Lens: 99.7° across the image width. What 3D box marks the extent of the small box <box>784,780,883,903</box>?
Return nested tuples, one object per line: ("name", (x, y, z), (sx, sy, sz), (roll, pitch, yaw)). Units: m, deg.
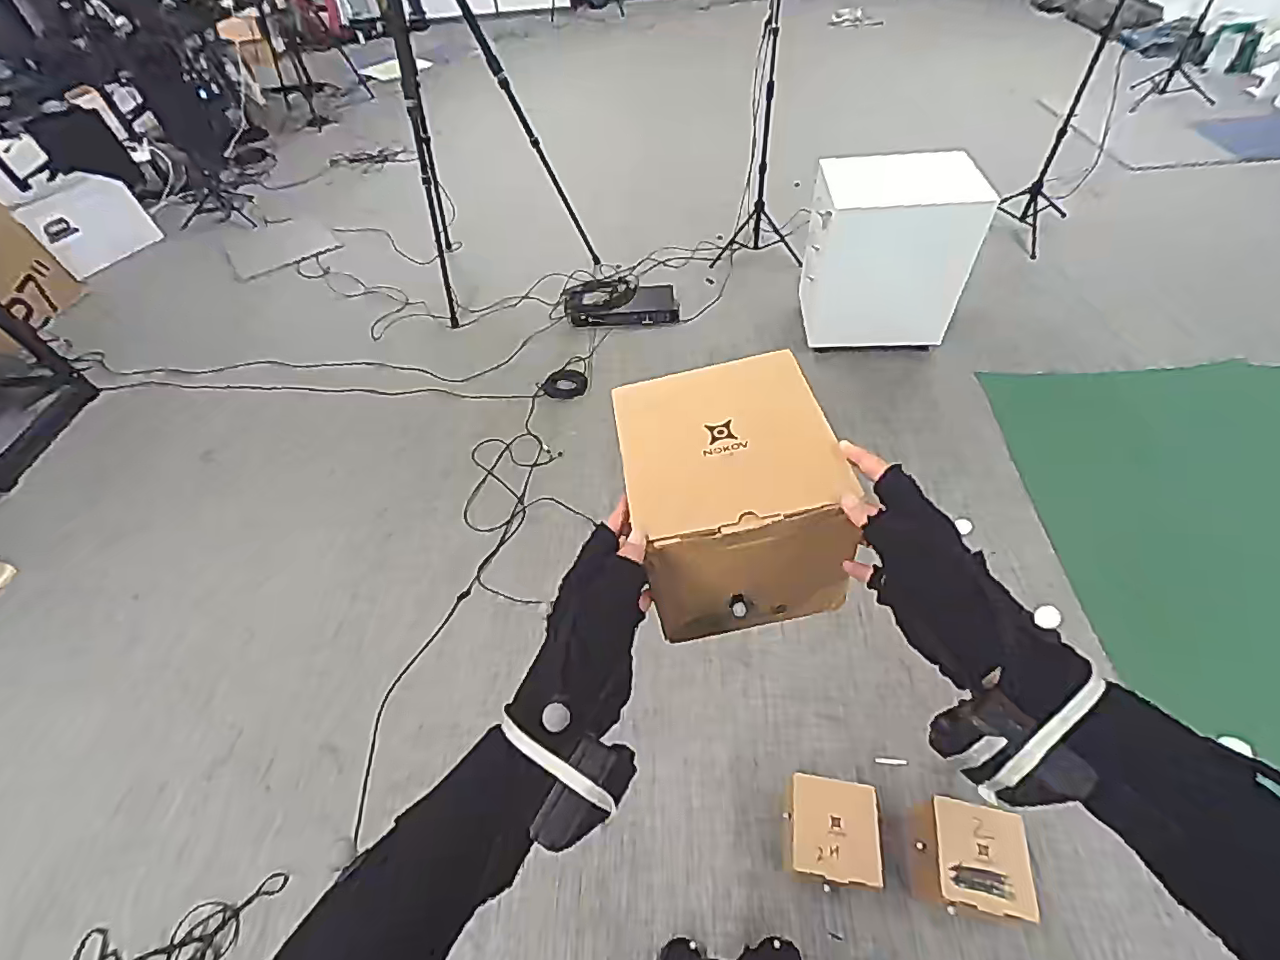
("small box", (0.394, 0.756, 1.129), (0.168, 0.176, 0.179), (5, 52, 11))
